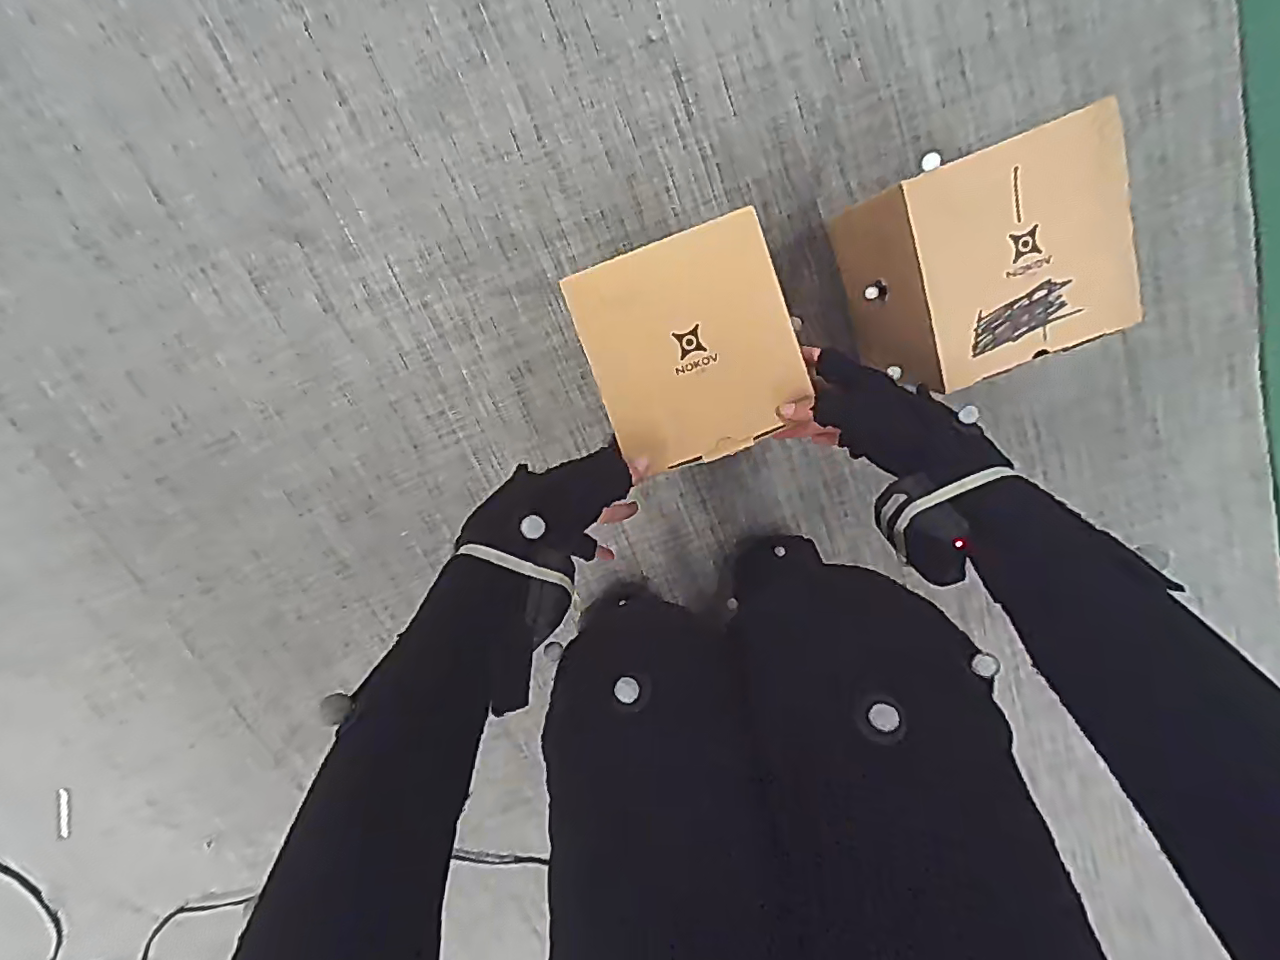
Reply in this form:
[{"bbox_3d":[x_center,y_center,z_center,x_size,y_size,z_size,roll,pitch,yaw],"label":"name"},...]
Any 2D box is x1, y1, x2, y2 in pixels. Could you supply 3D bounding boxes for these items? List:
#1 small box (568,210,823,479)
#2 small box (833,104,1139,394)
[{"bbox_3d":[0.045,-0.115,0.514,0.168,0.176,0.179,-20,97,4],"label":"small box"},{"bbox_3d":[0.304,-0.199,0.507,0.168,0.176,0.179,-20,105,5],"label":"small box"}]
